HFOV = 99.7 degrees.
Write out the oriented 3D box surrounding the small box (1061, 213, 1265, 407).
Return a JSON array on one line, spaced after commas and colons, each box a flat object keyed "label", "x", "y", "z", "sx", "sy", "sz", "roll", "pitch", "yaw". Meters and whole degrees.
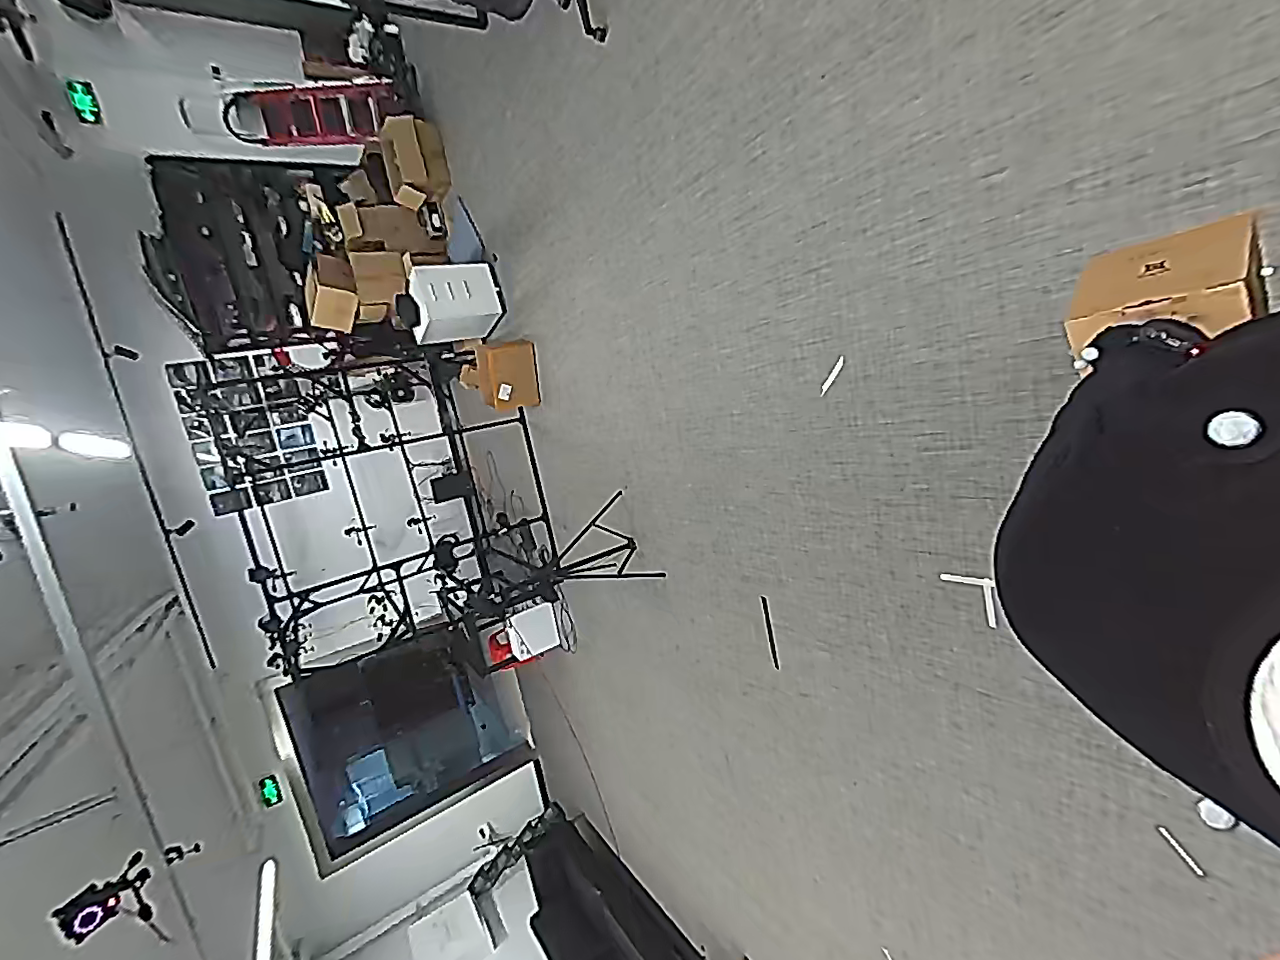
[{"label": "small box", "x": 0.708, "y": -0.213, "z": 0.730, "sx": 0.168, "sy": 0.179, "sz": 0.176, "roll": -3, "pitch": 131, "yaw": 54}]
